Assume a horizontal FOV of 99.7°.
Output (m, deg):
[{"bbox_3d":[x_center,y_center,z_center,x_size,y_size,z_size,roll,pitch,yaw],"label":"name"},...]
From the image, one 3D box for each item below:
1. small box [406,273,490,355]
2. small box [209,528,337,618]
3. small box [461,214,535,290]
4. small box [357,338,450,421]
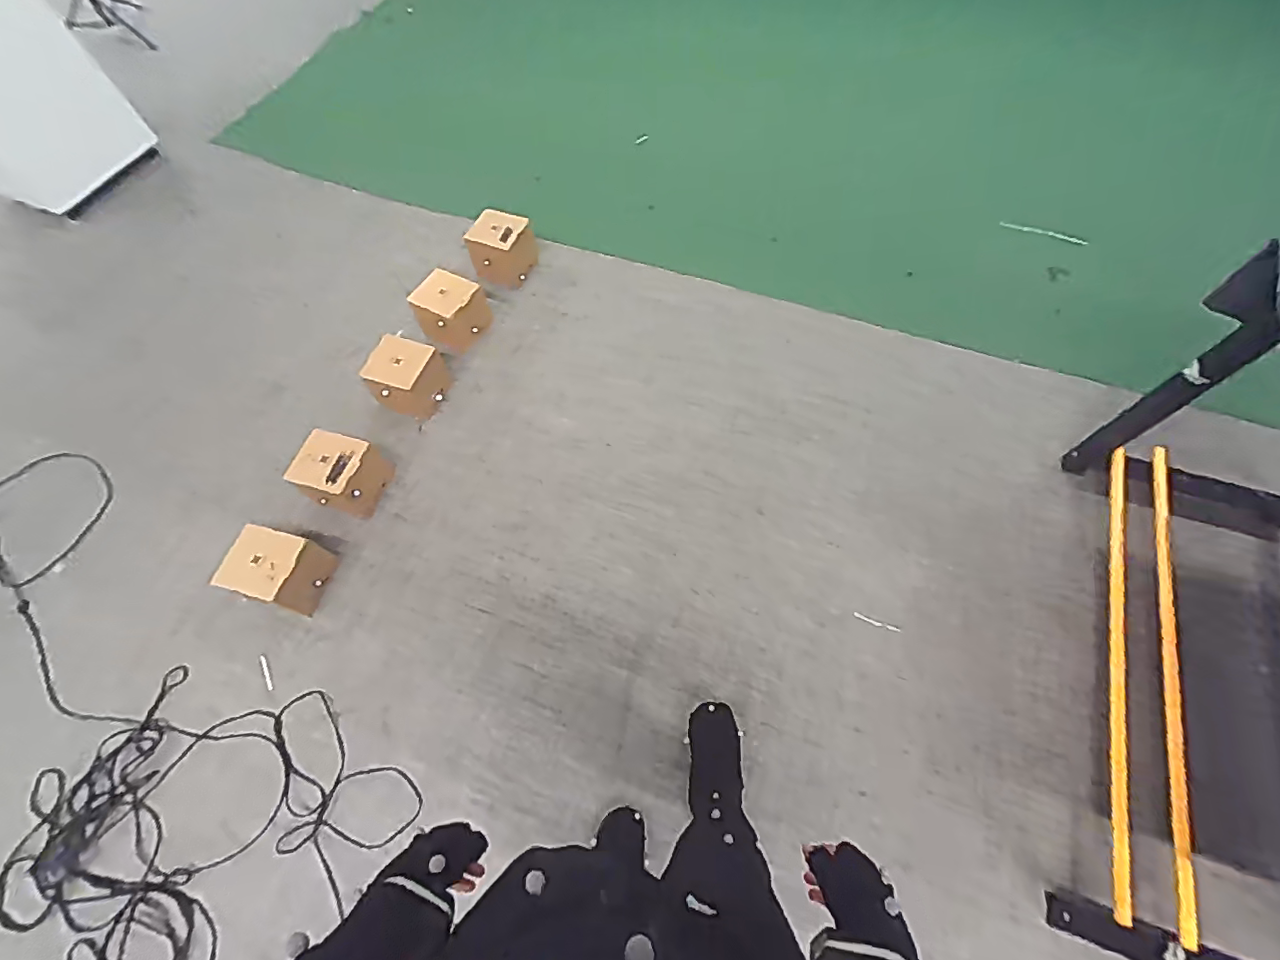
[{"bbox_3d":[-0.628,-0.544,1.788,0.179,0.176,0.168,25,66,12],"label":"small box"},{"bbox_3d":[-0.932,0.244,1.391,0.179,0.176,0.168,13,65,7],"label":"small box"},{"bbox_3d":[-0.495,-0.803,1.918,0.179,0.176,0.168,20,65,11],"label":"small box"},{"bbox_3d":[-0.719,-0.303,1.666,0.179,0.176,0.168,17,66,7],"label":"small box"}]
